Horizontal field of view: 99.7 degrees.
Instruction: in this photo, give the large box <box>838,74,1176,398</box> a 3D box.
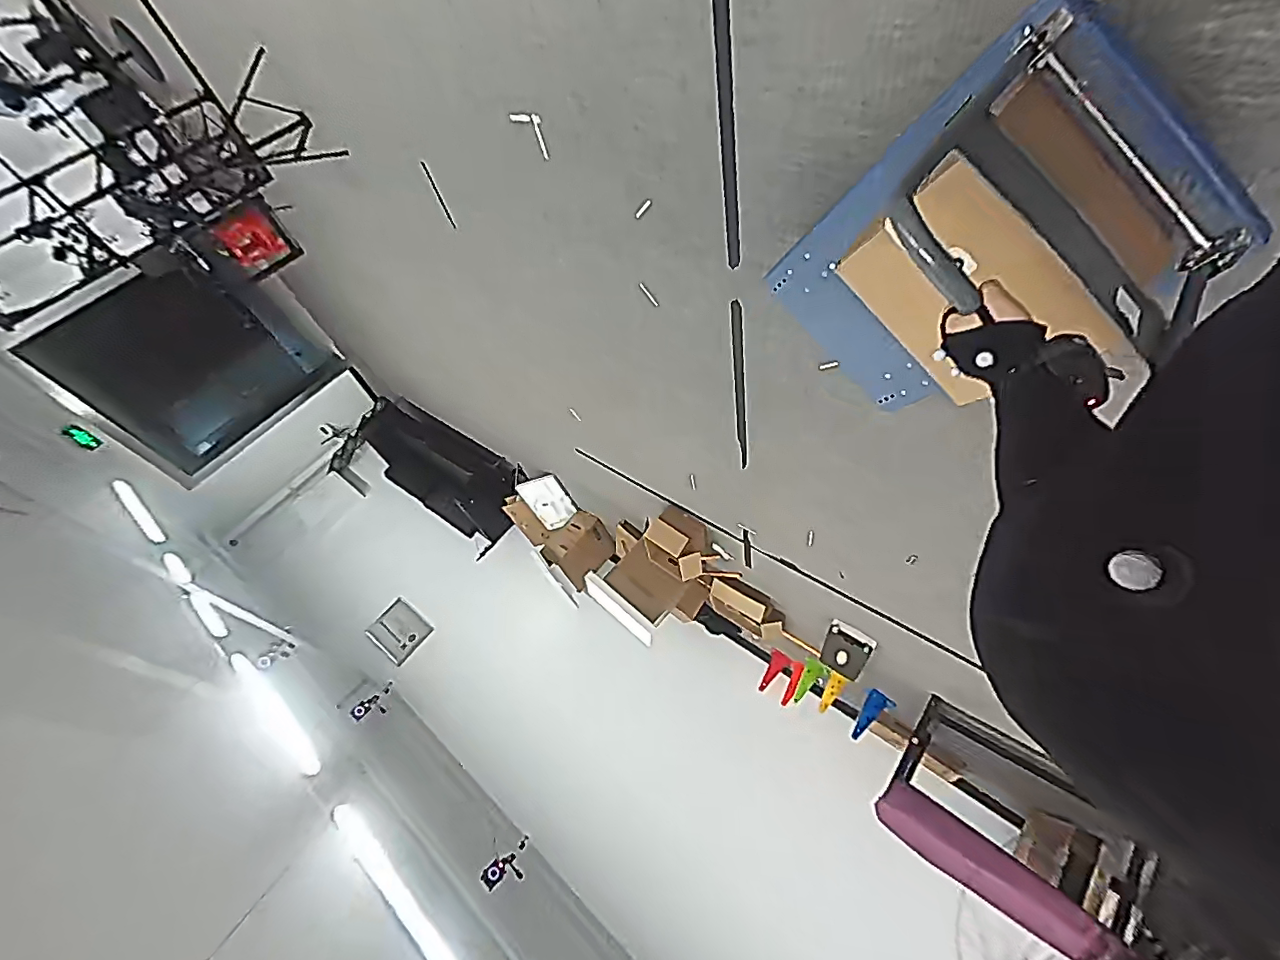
[{"bbox_3d":[0.685,-0.439,1.035,0.408,0.320,0.320,45,157,-5],"label":"large box"}]
